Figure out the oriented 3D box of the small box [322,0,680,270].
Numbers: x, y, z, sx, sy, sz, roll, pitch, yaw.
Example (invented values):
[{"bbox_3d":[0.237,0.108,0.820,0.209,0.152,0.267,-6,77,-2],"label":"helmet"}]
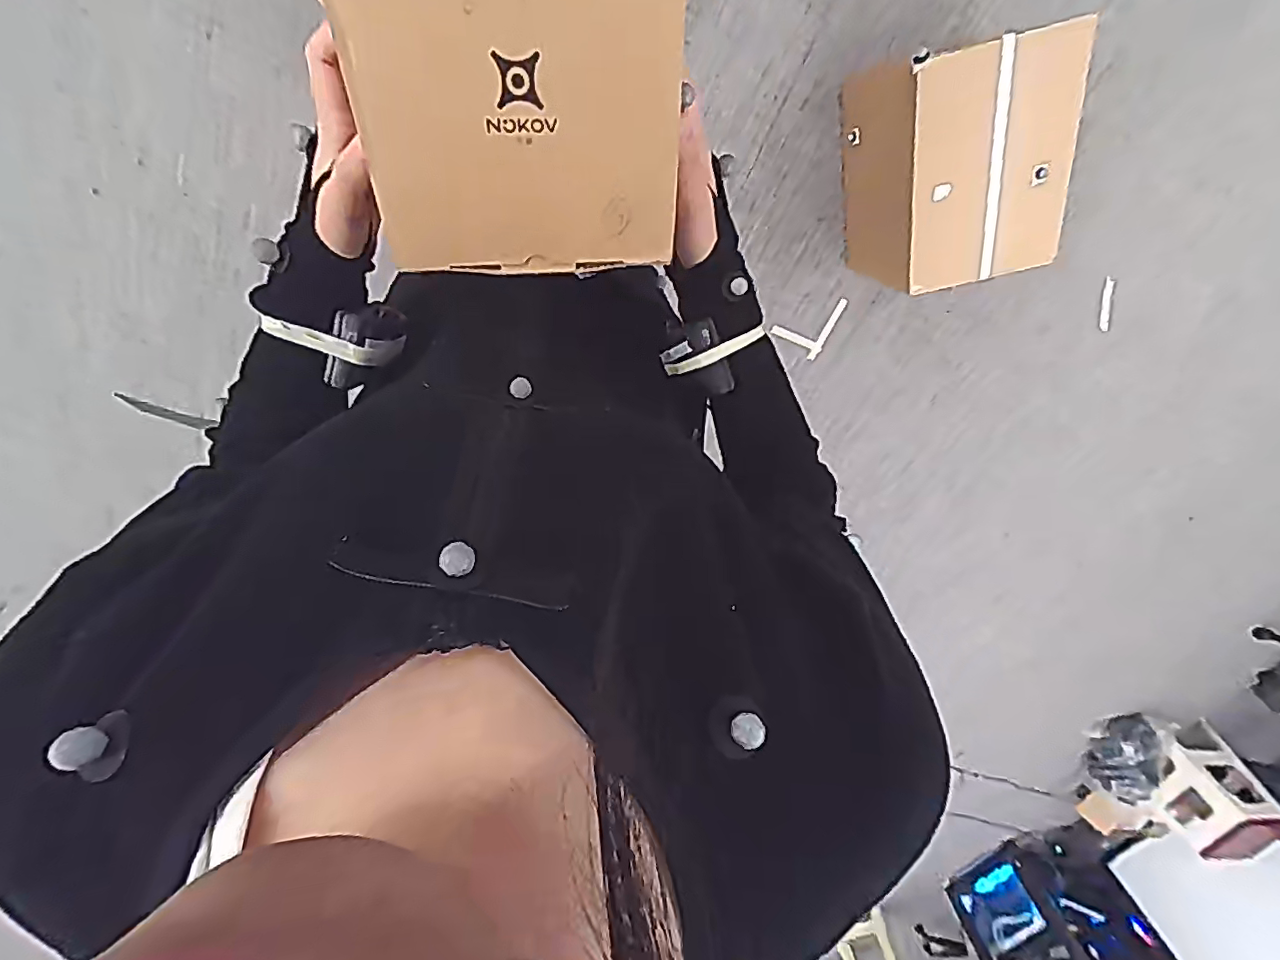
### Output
[{"bbox_3d":[-0.072,-0.246,0.331,0.168,0.176,0.179,-4,130,-6],"label":"small box"}]
